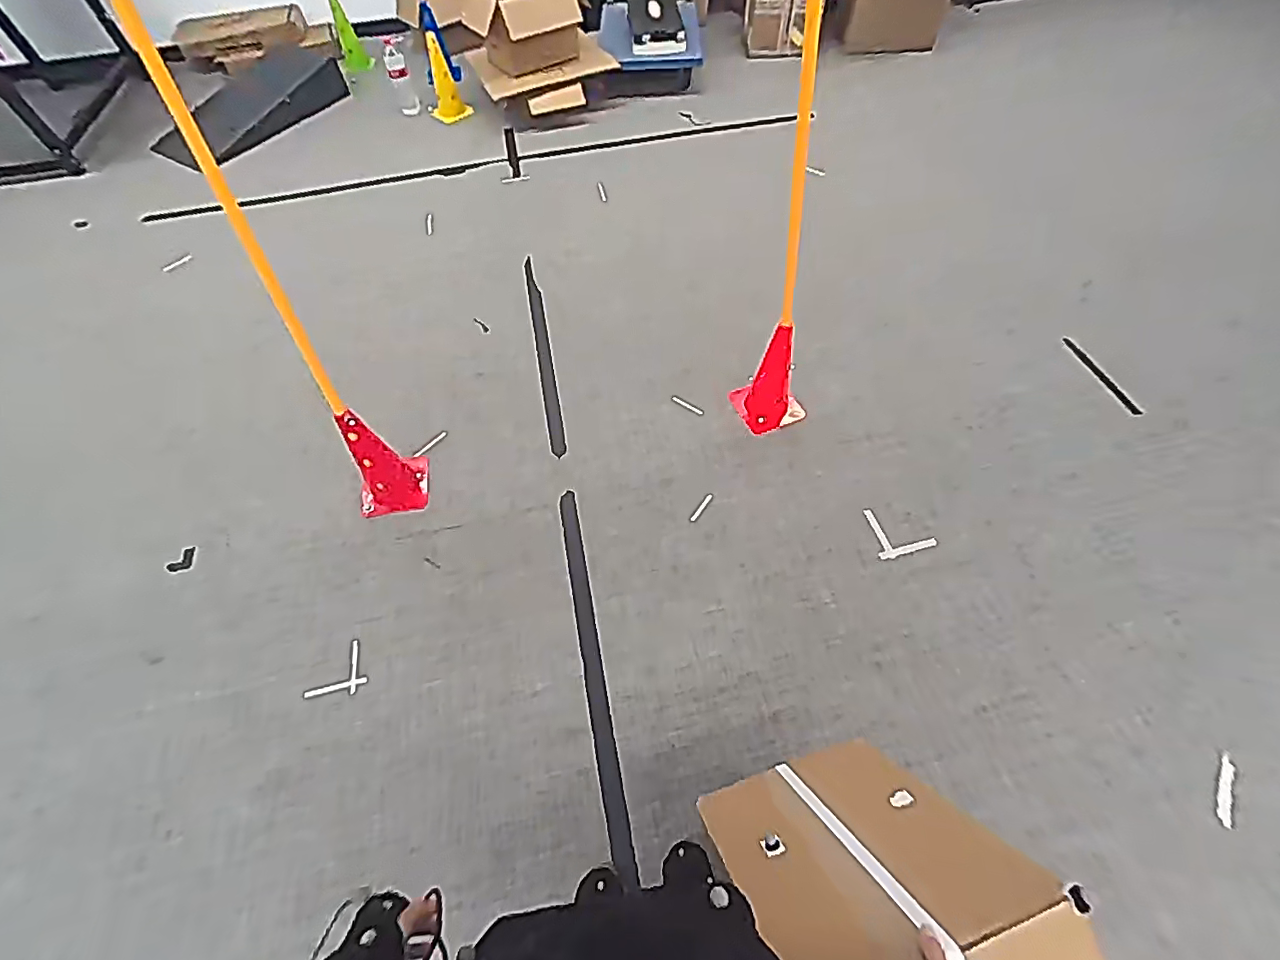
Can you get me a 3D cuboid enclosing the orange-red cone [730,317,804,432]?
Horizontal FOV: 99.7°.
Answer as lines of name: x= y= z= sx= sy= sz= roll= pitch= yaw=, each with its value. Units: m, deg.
orange-red cone: x=0.414 y=-0.345 z=1.641 sx=0.199 sy=0.360 sz=0.198 roll=-19 pitch=59 yaw=-11
